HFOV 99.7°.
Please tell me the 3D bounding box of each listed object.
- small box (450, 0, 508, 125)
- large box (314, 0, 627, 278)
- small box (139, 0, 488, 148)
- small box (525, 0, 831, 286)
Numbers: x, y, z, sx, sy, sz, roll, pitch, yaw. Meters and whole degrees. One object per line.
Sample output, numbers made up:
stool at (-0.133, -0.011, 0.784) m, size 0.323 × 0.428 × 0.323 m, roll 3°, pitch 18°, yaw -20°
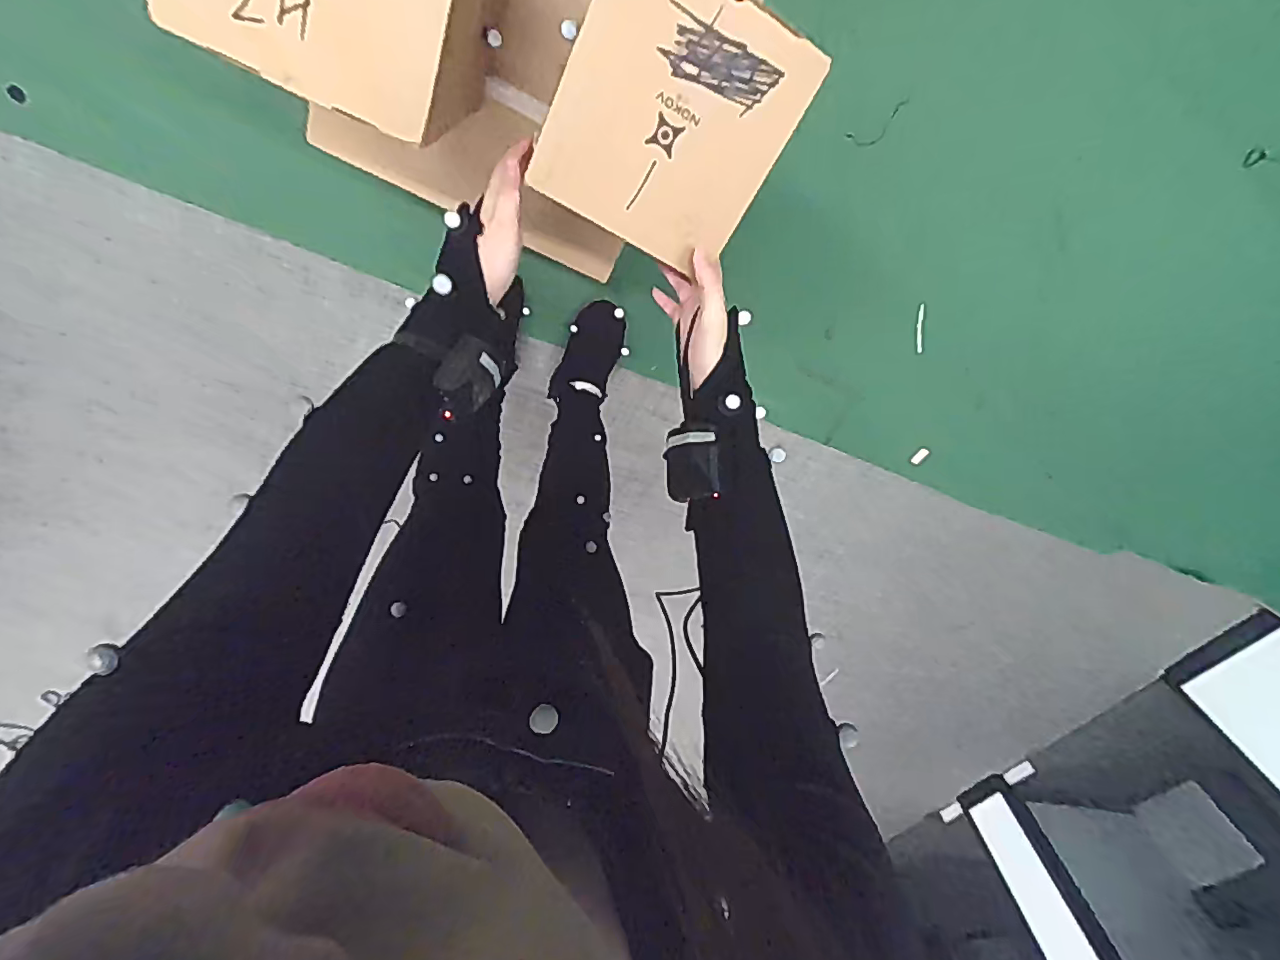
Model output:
small box at (-0.220, -0.474, 0.507) m, size 0.168 × 0.176 × 0.179 m, roll 19°, pitch 122°, yaw -20°
large box at (-0.171, -0.549, 0.760) m, size 0.408 × 0.320 × 0.320 m, roll 18°, pitch 123°, yaw -20°
small box at (-0.203, -0.371, 0.378) m, size 0.168 × 0.176 × 0.179 m, roll 18°, pitch 122°, yaw -20°
small box at (0.017, -0.302, 0.453) m, size 0.168 × 0.176 × 0.179 m, roll 22°, pitch 122°, yaw -20°
